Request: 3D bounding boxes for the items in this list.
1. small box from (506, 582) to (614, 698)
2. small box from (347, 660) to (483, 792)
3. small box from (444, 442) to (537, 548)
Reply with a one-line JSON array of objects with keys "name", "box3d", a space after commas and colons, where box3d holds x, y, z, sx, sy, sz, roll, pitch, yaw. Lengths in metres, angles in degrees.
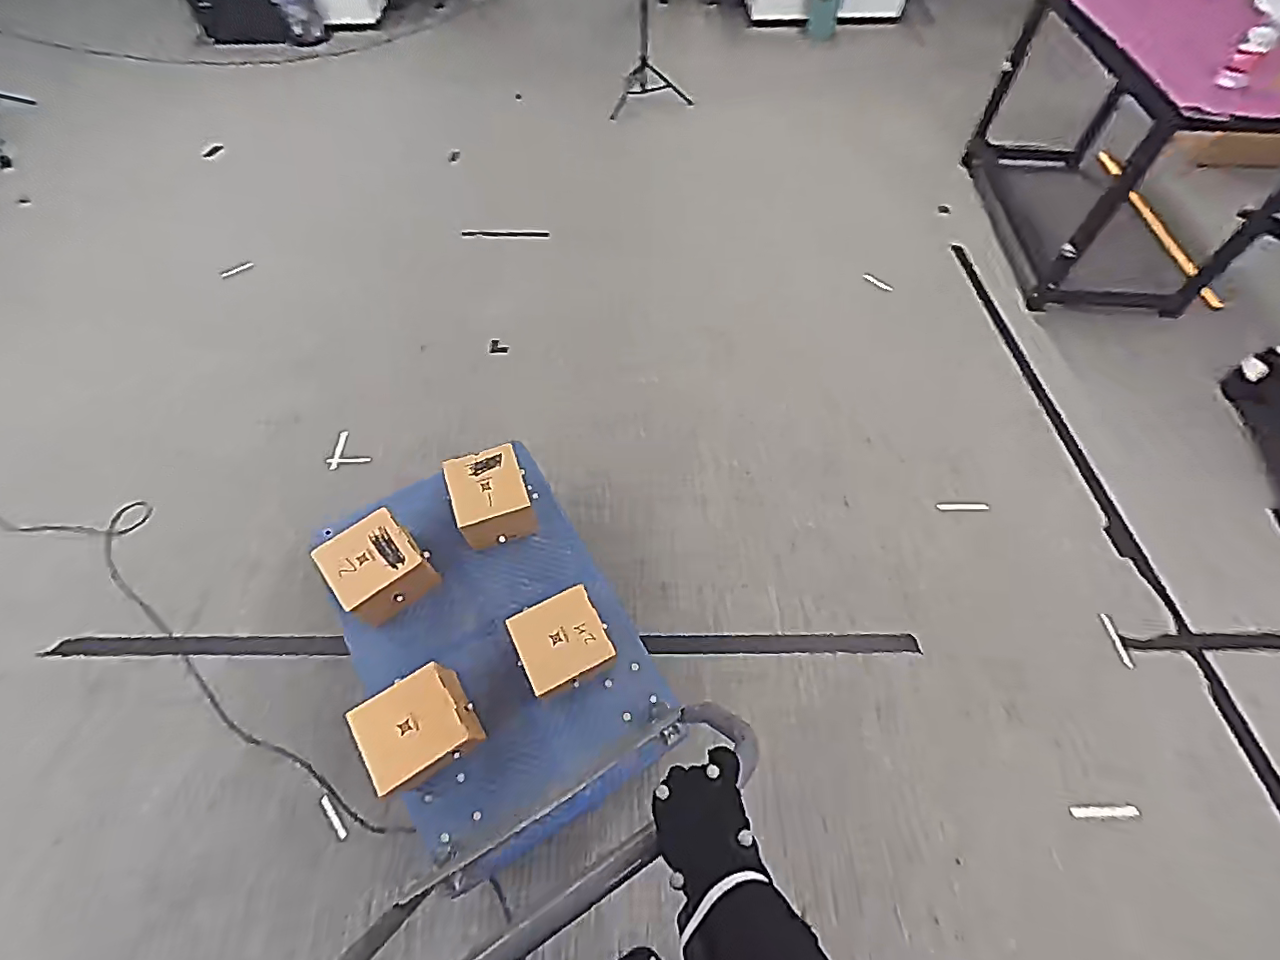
[{"name": "small box", "box3d": [-0.165, 0.349, 1.160, 0.179, 0.176, 0.168, -24, 68, -15]}, {"name": "small box", "box3d": [-0.436, 0.488, 1.073, 0.179, 0.176, 0.168, -30, 69, -18]}, {"name": "small box", "box3d": [-0.356, 0.040, 1.303, 0.168, 0.176, 0.179, -17, 67, -12]}]
